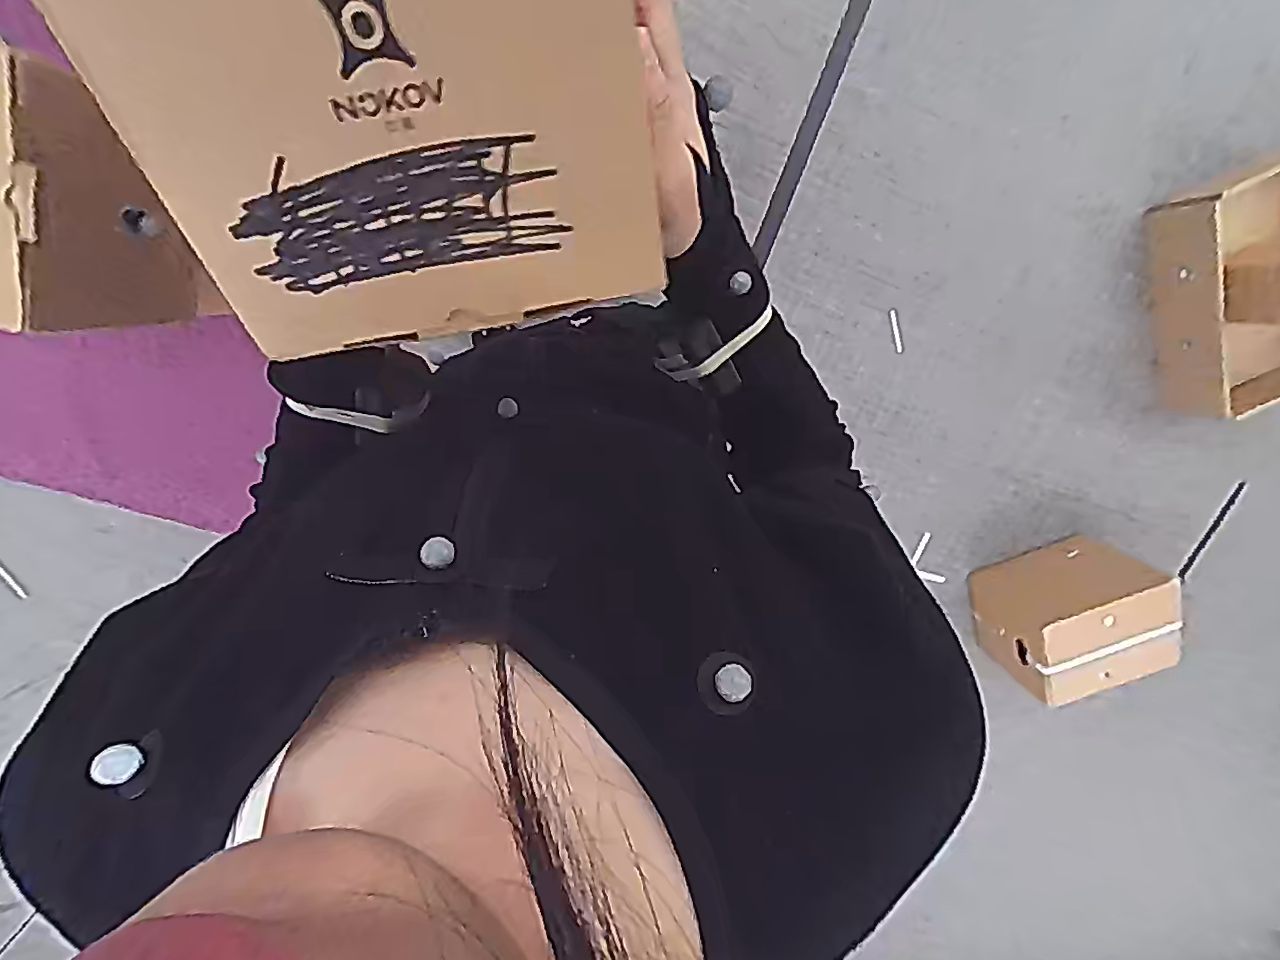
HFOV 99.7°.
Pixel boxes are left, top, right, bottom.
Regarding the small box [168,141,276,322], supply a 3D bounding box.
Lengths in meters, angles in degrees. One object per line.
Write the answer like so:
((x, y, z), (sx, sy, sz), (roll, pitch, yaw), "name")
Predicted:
((-0.504, -0.271, 0.542), (0.179, 0.176, 0.168), (16, 106, -11), "small box")

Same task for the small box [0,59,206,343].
((-0.462, -0.212, 0.393), (0.179, 0.176, 0.168), (15, 106, -12), "small box")

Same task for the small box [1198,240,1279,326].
((1.658, -0.529, 1.441), (0.179, 0.176, 0.168), (-25, 110, 3), "small box")

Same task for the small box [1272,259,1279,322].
((1.677, -0.483, 1.287), (0.179, 0.176, 0.168), (-30, 111, 2), "small box")
